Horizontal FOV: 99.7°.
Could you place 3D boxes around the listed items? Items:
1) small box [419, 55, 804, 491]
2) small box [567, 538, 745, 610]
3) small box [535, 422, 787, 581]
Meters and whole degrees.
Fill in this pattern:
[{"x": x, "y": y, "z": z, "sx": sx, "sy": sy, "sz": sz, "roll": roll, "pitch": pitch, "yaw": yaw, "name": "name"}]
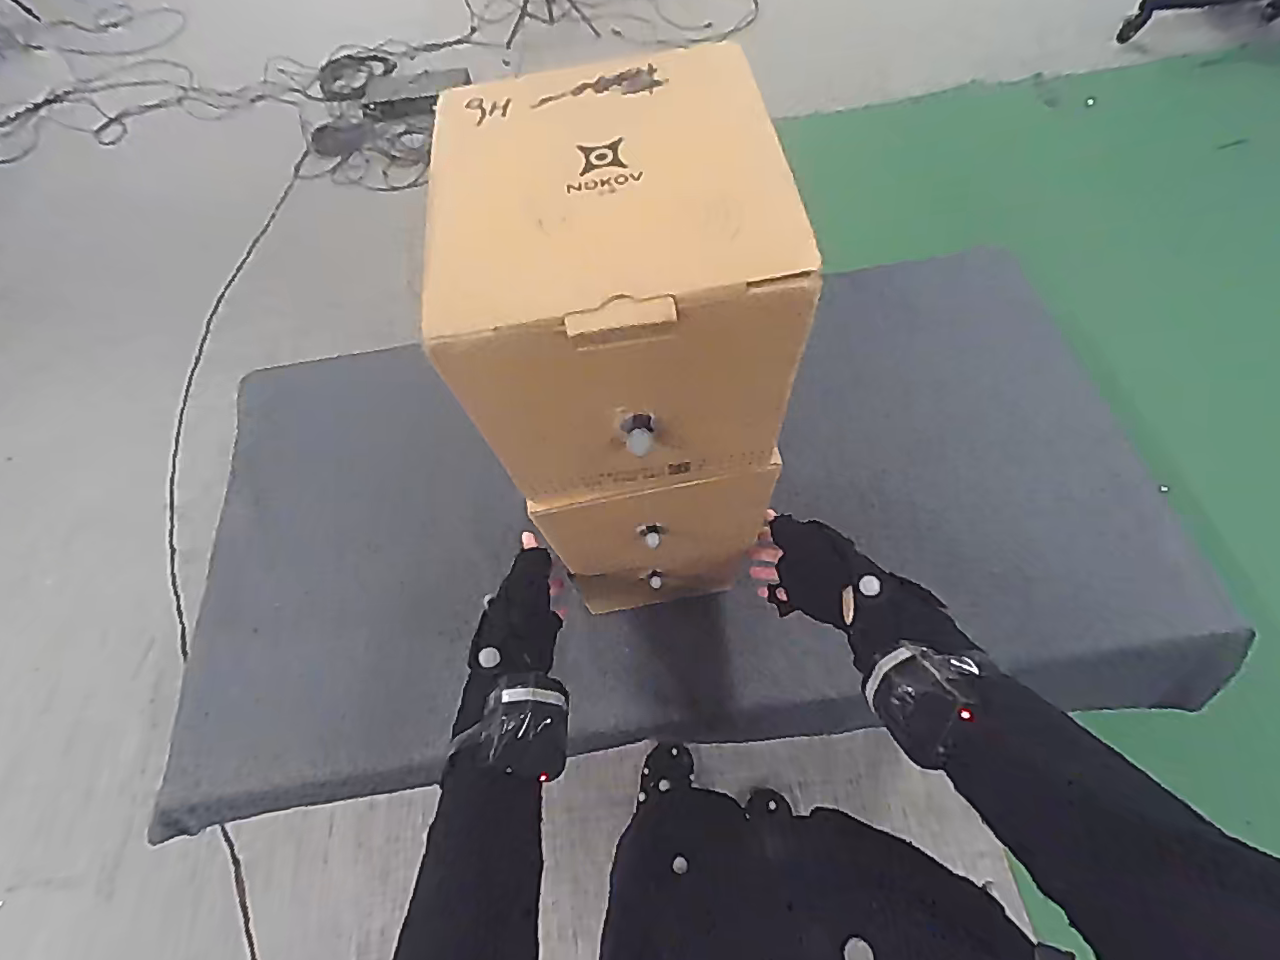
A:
[{"x": -0.013, "y": -0.103, "z": 0.328, "sx": 0.168, "sy": 0.176, "sz": 0.179, "roll": -8, "pitch": 65, "yaw": 2, "name": "small box"}, {"x": 0.011, "y": 0.042, "z": 0.621, "sx": 0.179, "sy": 0.176, "sz": 0.168, "roll": -10, "pitch": 65, "yaw": -1, "name": "small box"}, {"x": 0.005, "y": -0.025, "z": 0.470, "sx": 0.179, "sy": 0.176, "sz": 0.168, "roll": -13, "pitch": 64, "yaw": -2, "name": "small box"}]
